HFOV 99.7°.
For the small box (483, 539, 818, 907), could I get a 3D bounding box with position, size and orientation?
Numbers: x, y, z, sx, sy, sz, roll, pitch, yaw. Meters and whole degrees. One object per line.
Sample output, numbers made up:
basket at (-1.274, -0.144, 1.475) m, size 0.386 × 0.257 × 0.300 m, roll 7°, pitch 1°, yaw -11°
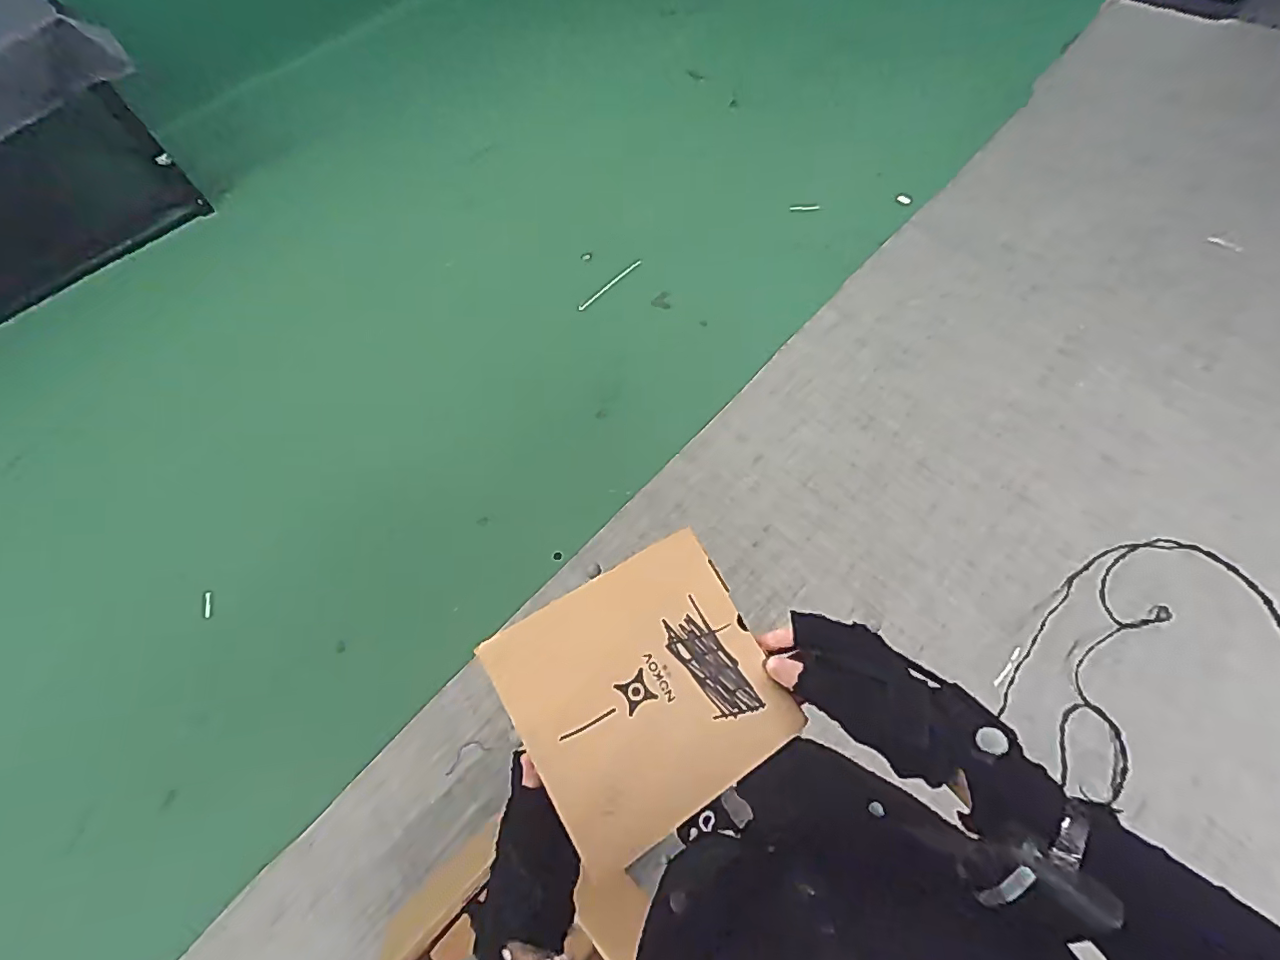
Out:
small box at (-0.004, 0.169, 0.431) m, size 0.179 × 0.176 × 0.168 m, roll -28°, pitch 79°, yaw -16°
